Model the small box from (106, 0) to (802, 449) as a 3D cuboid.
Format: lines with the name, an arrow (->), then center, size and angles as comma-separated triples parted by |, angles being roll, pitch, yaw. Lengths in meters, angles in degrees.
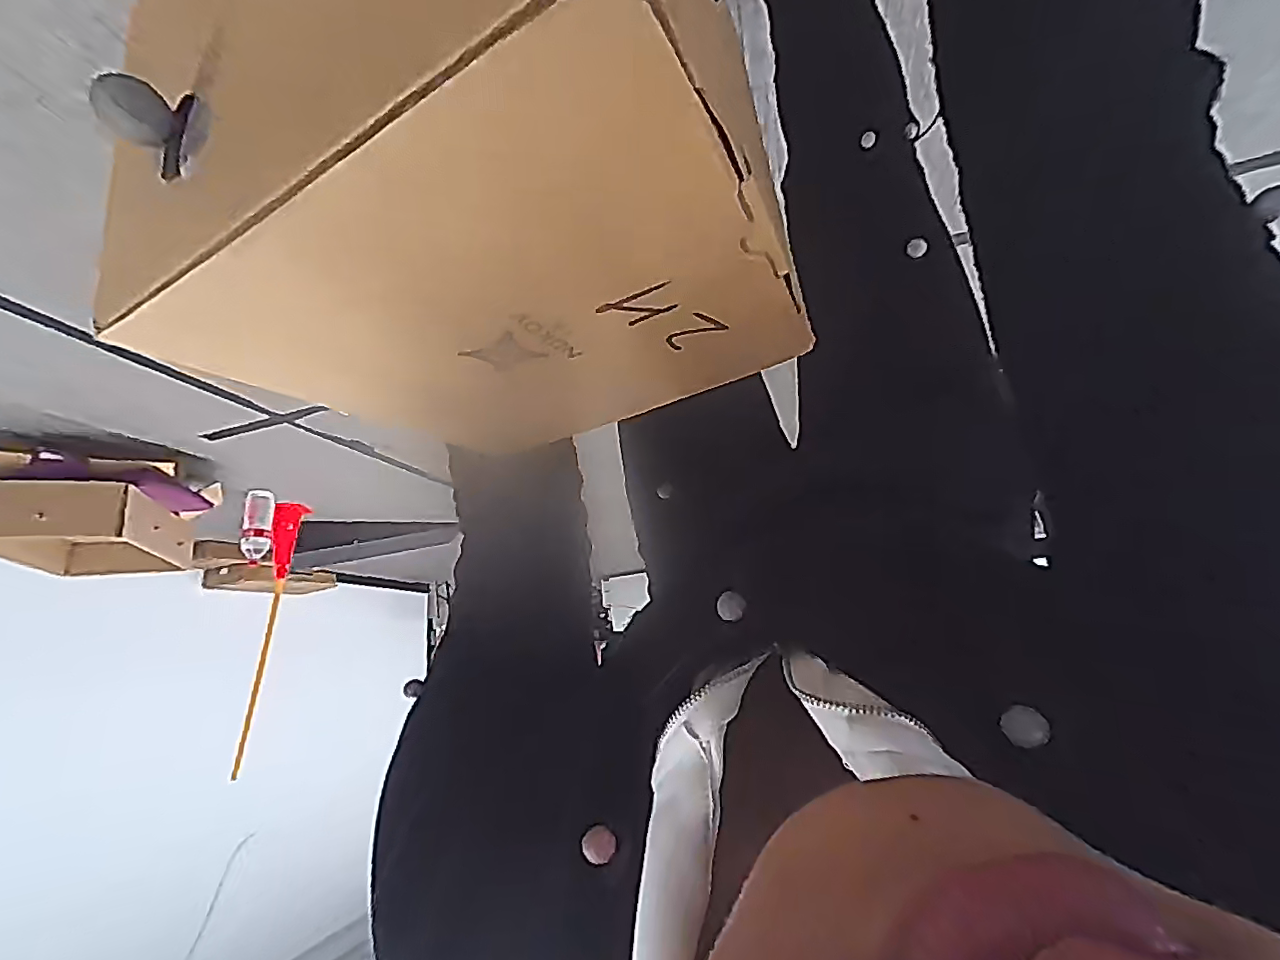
small box -> -0.054, -0.130, 0.212 | 0.179, 0.176, 0.168 | -16, 164, 24
